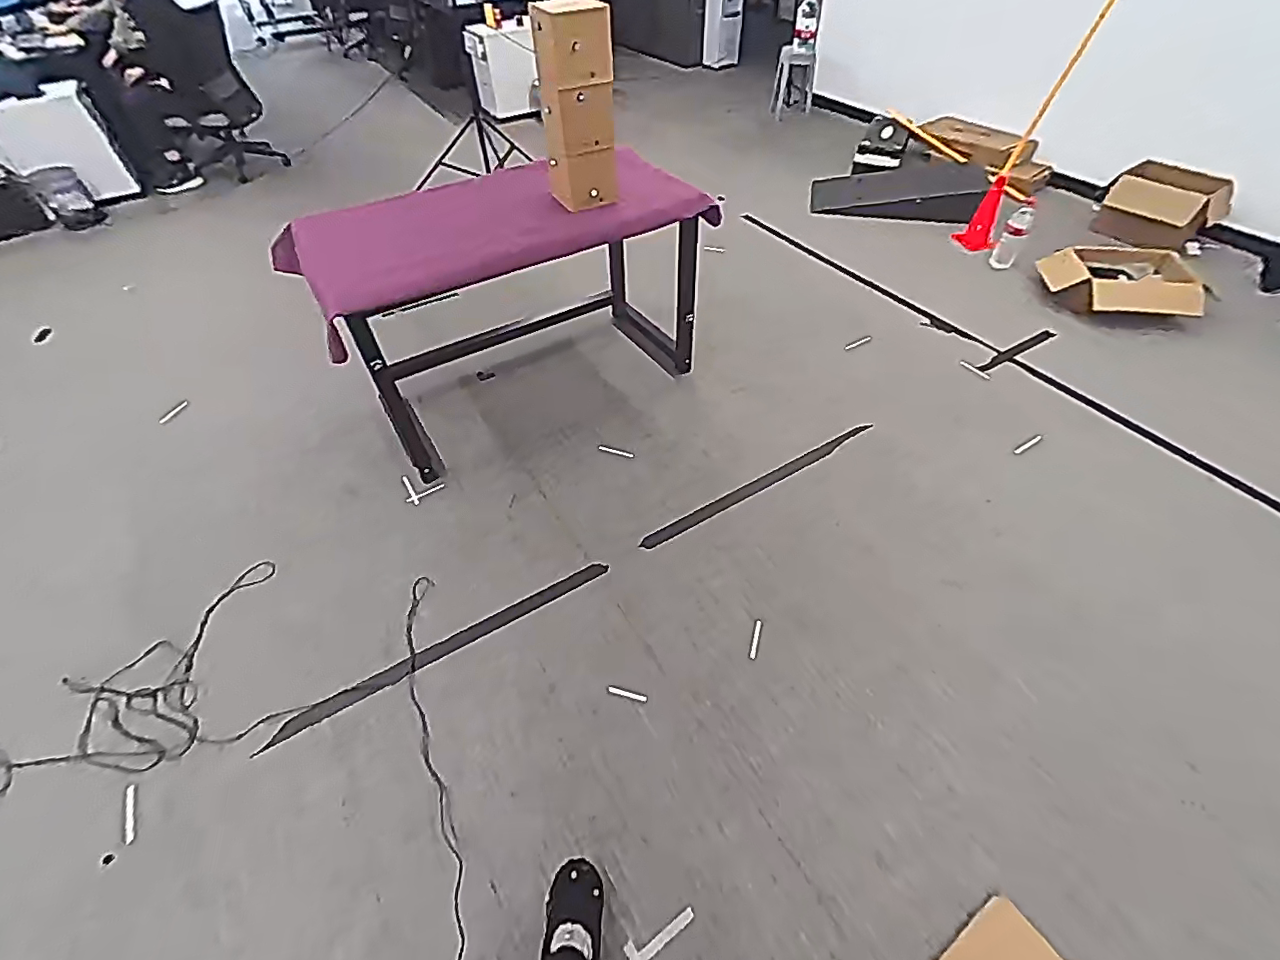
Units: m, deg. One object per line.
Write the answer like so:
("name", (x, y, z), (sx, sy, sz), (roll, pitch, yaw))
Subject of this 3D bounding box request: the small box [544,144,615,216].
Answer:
("small box", (-0.192, -0.980, 1.745), (0.168, 0.176, 0.179), (-24, 53, -17))

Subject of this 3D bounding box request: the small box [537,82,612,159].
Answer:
("small box", (-0.194, -1.085, 1.619), (0.168, 0.176, 0.179), (-22, 51, -16))

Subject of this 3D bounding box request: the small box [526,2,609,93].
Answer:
("small box", (-0.194, -1.188, 1.492), (0.168, 0.176, 0.179), (-23, 52, -16))
